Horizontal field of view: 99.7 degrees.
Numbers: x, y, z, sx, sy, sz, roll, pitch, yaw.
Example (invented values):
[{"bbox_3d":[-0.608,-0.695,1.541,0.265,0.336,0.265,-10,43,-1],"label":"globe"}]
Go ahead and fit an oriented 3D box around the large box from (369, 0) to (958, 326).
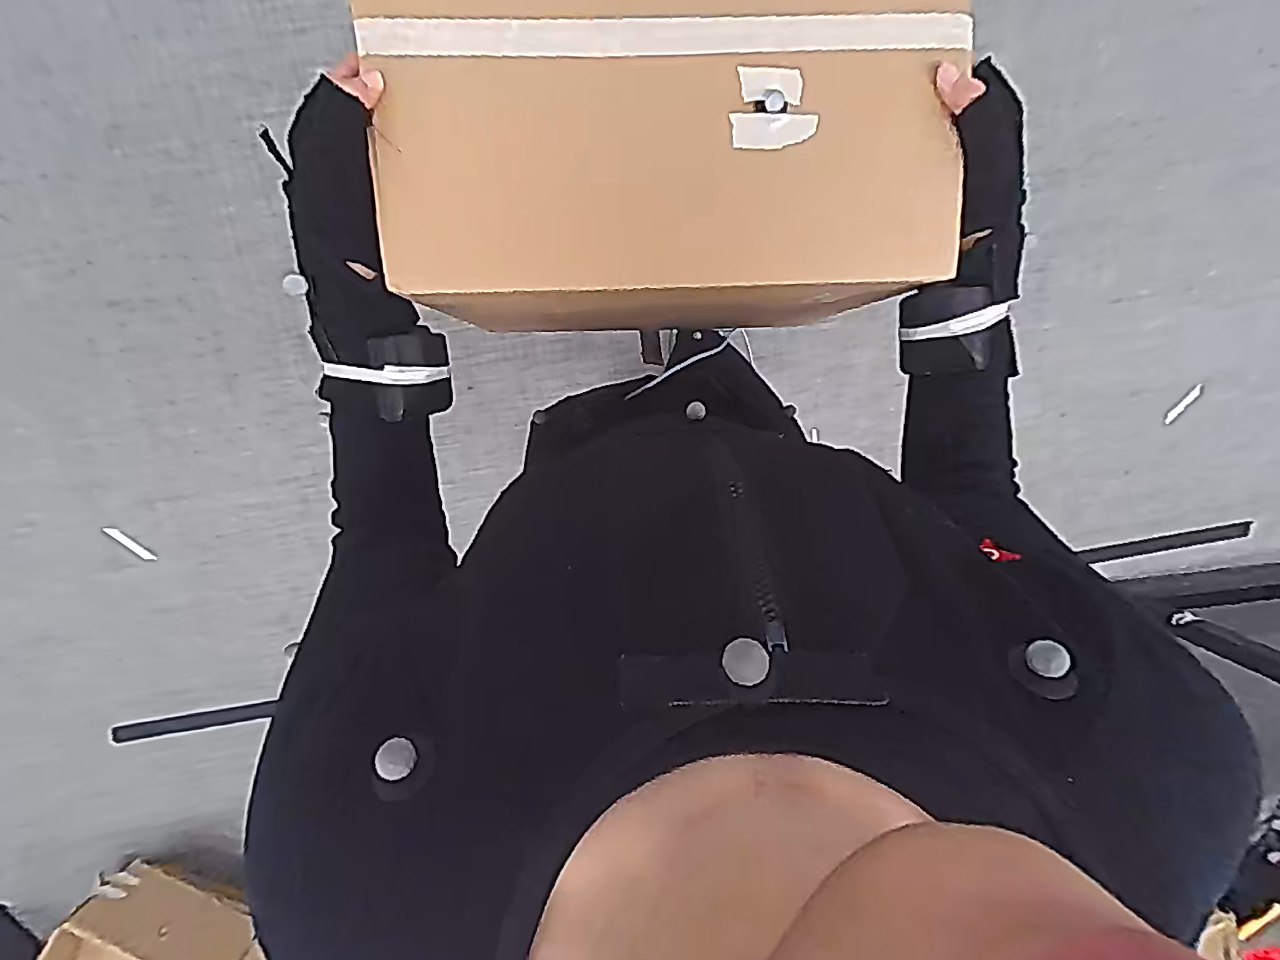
[{"bbox_3d":[0.011,-0.326,0.512,0.408,0.320,0.320,-2,102,-3],"label":"large box"}]
